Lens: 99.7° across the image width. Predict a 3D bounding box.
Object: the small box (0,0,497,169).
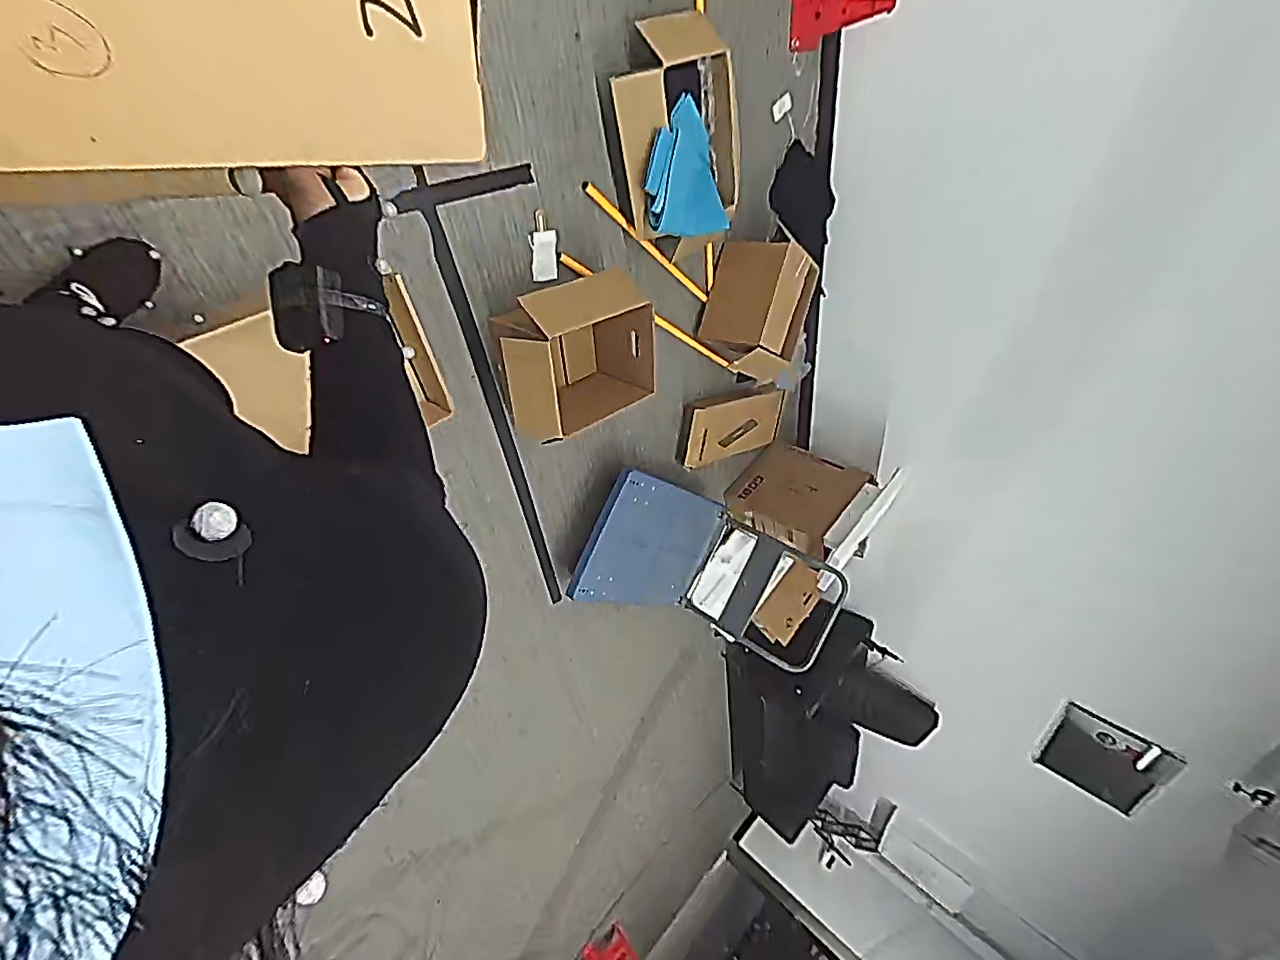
[{"bbox_3d":[-0.178,-0.227,0.213,0.179,0.176,0.168,-22,134,-32],"label":"small box"}]
